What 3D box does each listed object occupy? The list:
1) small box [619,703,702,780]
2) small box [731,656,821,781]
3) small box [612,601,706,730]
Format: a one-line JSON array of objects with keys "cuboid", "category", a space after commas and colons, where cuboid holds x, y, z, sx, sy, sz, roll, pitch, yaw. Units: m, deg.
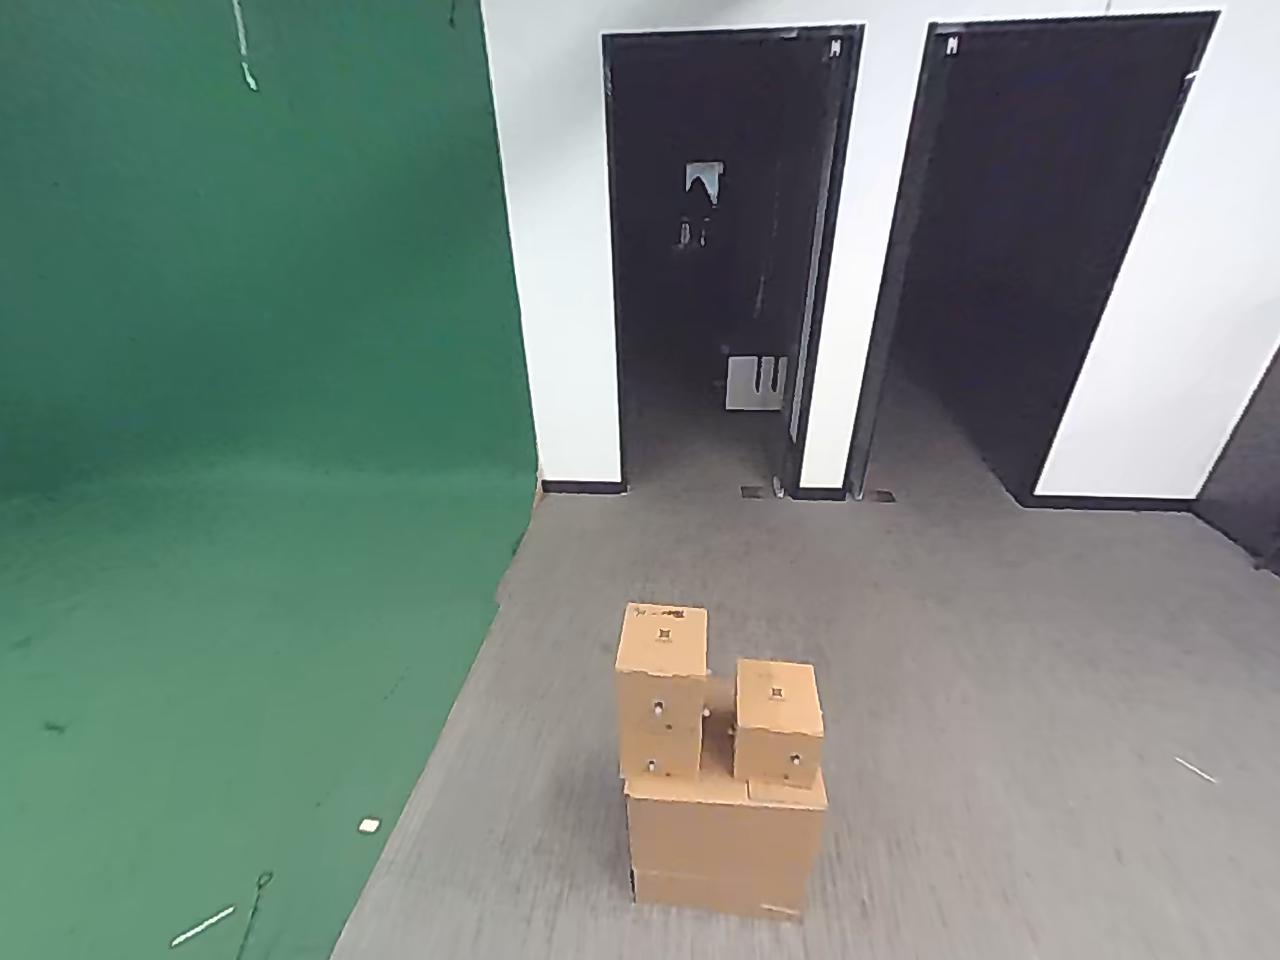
[{"cuboid": [0.046, 0.505, 1.160, 0.168, 0.176, 0.179, 3, 31, 5], "category": "small box"}, {"cuboid": [0.282, 0.505, 1.146, 0.168, 0.176, 0.179, 3, 29, 9], "category": "small box"}, {"cuboid": [0.043, 0.366, 1.073, 0.168, 0.176, 0.179, 4, 32, 6], "category": "small box"}]
